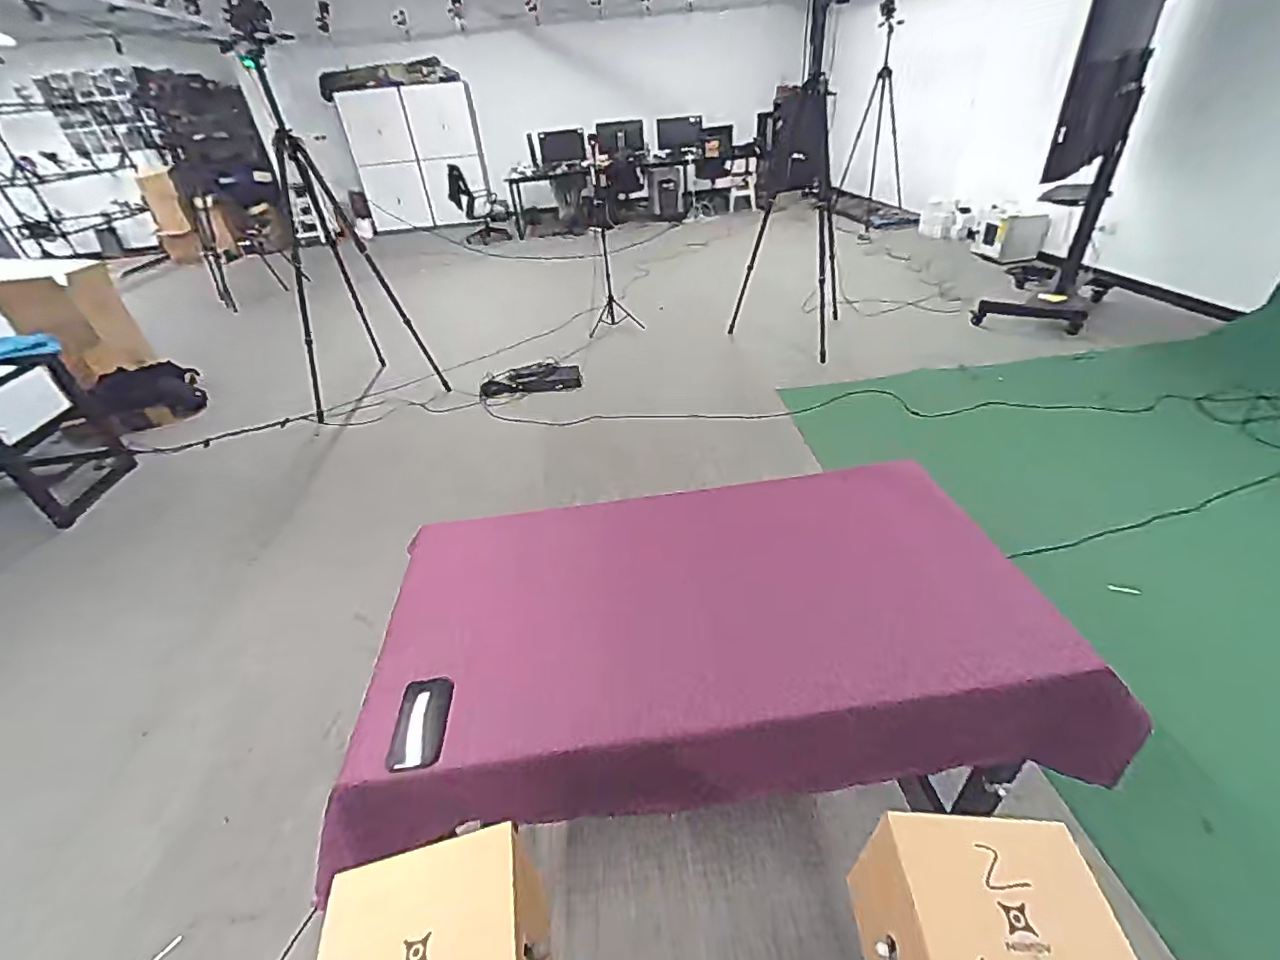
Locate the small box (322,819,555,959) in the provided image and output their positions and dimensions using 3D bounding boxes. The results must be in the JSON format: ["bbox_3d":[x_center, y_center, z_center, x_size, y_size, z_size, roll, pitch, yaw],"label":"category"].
[{"bbox_3d":[-0.170,0.453,0.481,0.168,0.176,0.179,-13,33,-9],"label":"small box"}]
